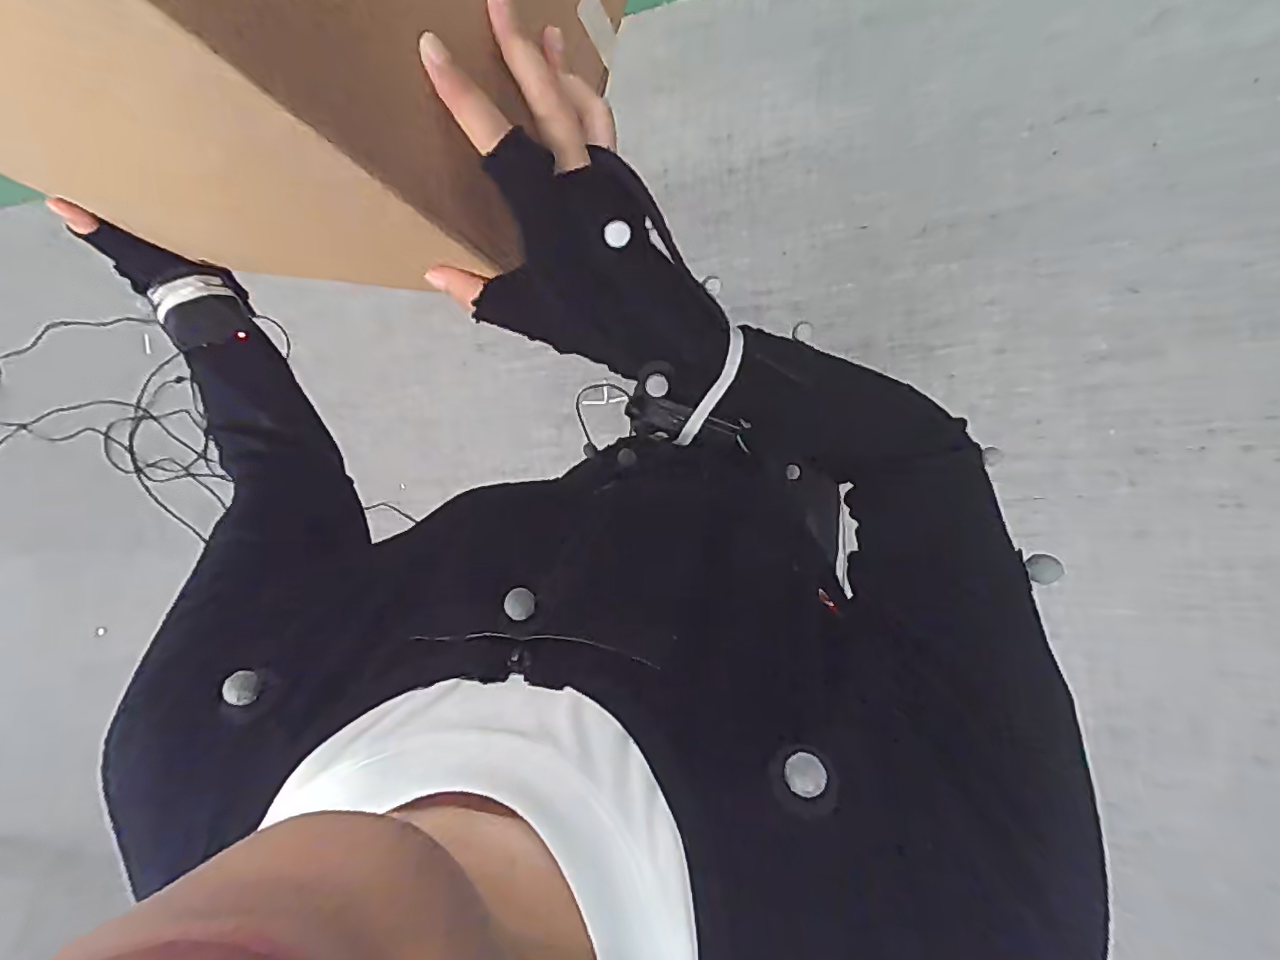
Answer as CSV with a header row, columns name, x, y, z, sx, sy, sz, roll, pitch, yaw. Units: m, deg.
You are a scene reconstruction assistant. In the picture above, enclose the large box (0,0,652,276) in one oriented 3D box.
name,x,y,z,sx,sy,sz,roll,pitch,yaw
large box,-0.235,-0.329,0.277,0.408,0.320,0.320,15,86,26
